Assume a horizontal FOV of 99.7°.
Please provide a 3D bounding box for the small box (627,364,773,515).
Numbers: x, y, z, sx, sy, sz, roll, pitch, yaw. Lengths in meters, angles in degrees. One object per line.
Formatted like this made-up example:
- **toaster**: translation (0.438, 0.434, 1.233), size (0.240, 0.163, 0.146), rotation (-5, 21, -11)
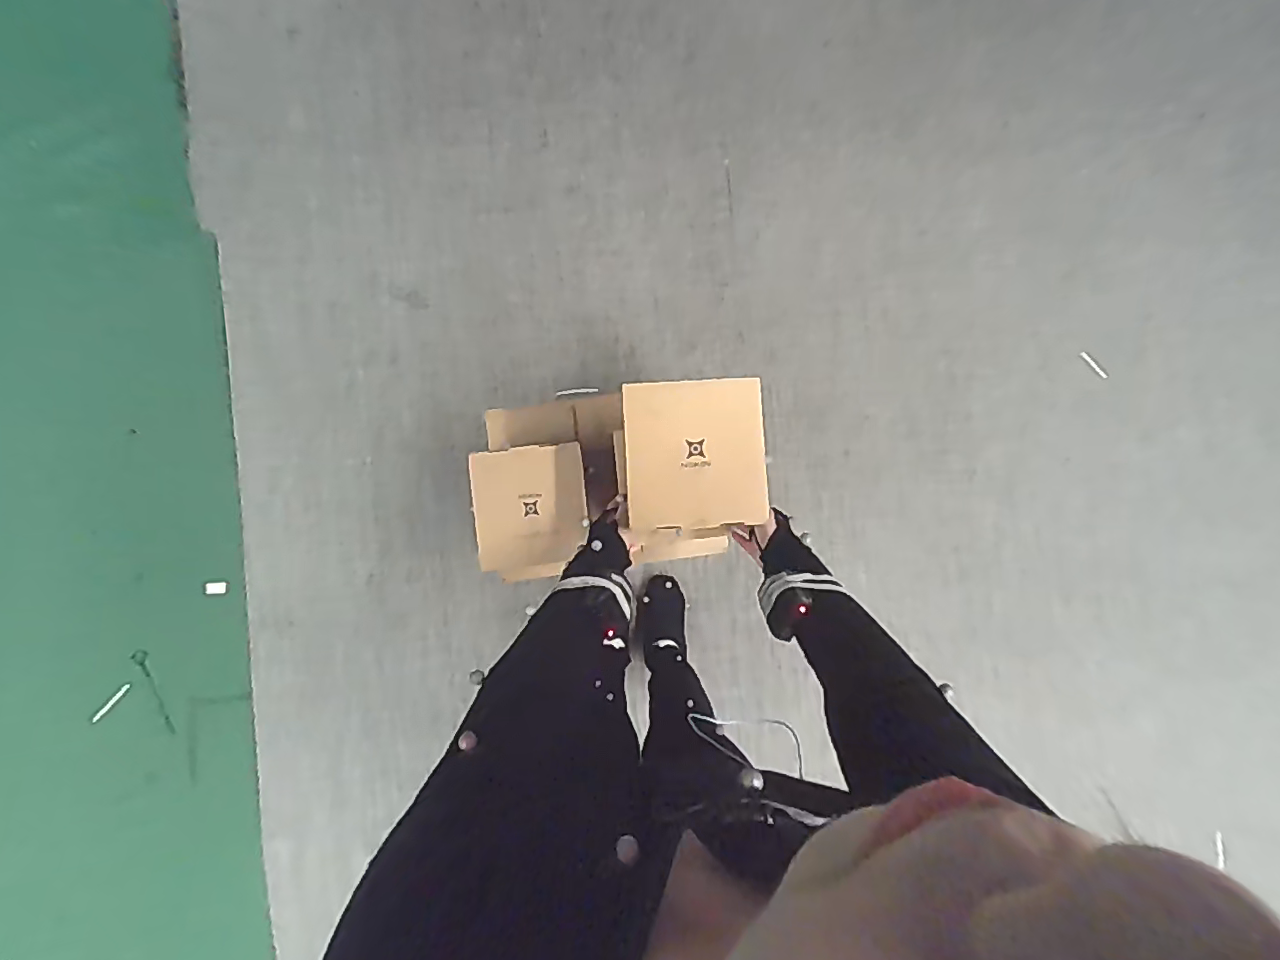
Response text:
- **small box**: translation (0.068, -0.044, 0.713), size (0.168, 0.176, 0.179), rotation (-3, 87, -2)
